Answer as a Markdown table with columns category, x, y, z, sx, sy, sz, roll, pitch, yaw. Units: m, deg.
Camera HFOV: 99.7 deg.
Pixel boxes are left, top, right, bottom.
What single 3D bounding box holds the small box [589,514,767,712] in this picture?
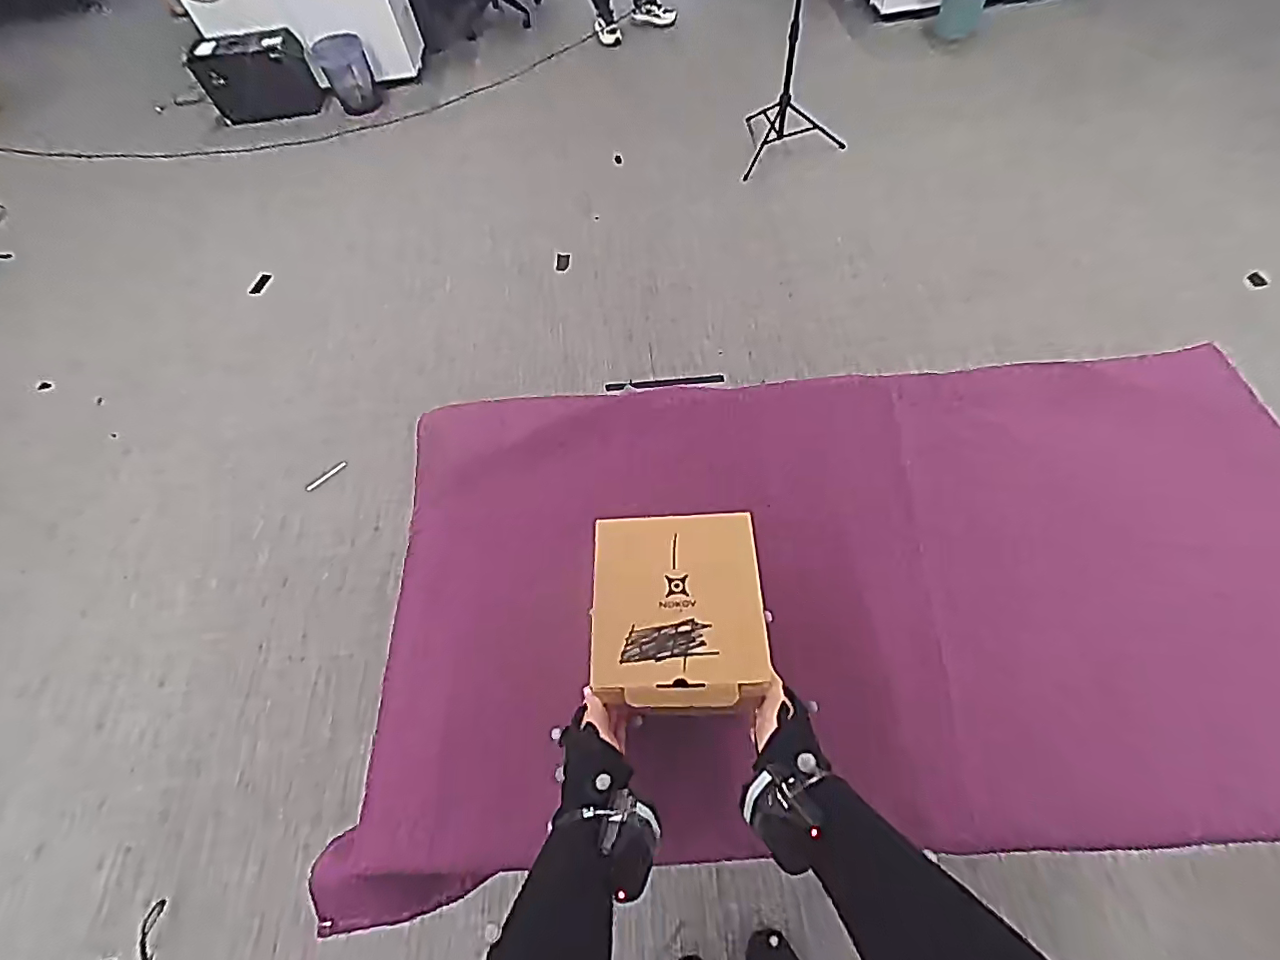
| category | x | y | z | sx | sy | sz | roll | pitch | yaw |
| --- | --- | --- | --- | --- | --- | --- | --- | --- | --- |
| small box | 0.041 | 0.154 | 0.596 | 0.168 | 0.176 | 0.179 | -3 | 58 | 4 |
